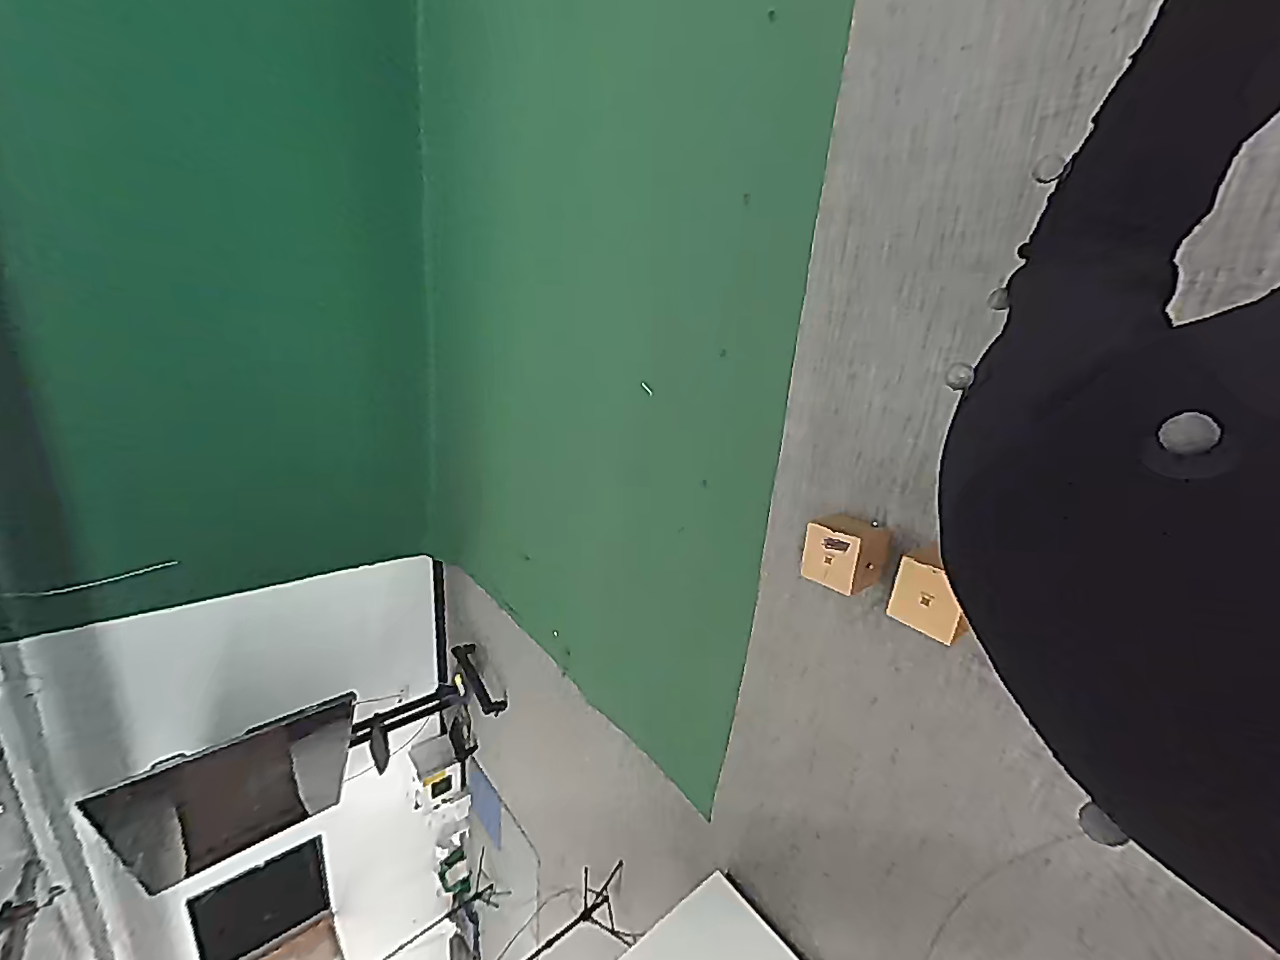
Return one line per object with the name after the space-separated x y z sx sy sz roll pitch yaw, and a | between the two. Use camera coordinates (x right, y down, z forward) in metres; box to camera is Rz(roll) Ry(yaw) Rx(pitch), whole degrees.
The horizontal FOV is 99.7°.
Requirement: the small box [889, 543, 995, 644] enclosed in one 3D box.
0.774 0.283 1.382 0.168 0.176 0.179 26 116 46 | small box

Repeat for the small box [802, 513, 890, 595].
0.603 0.206 1.575 0.168 0.176 0.179 22 114 47 | small box
